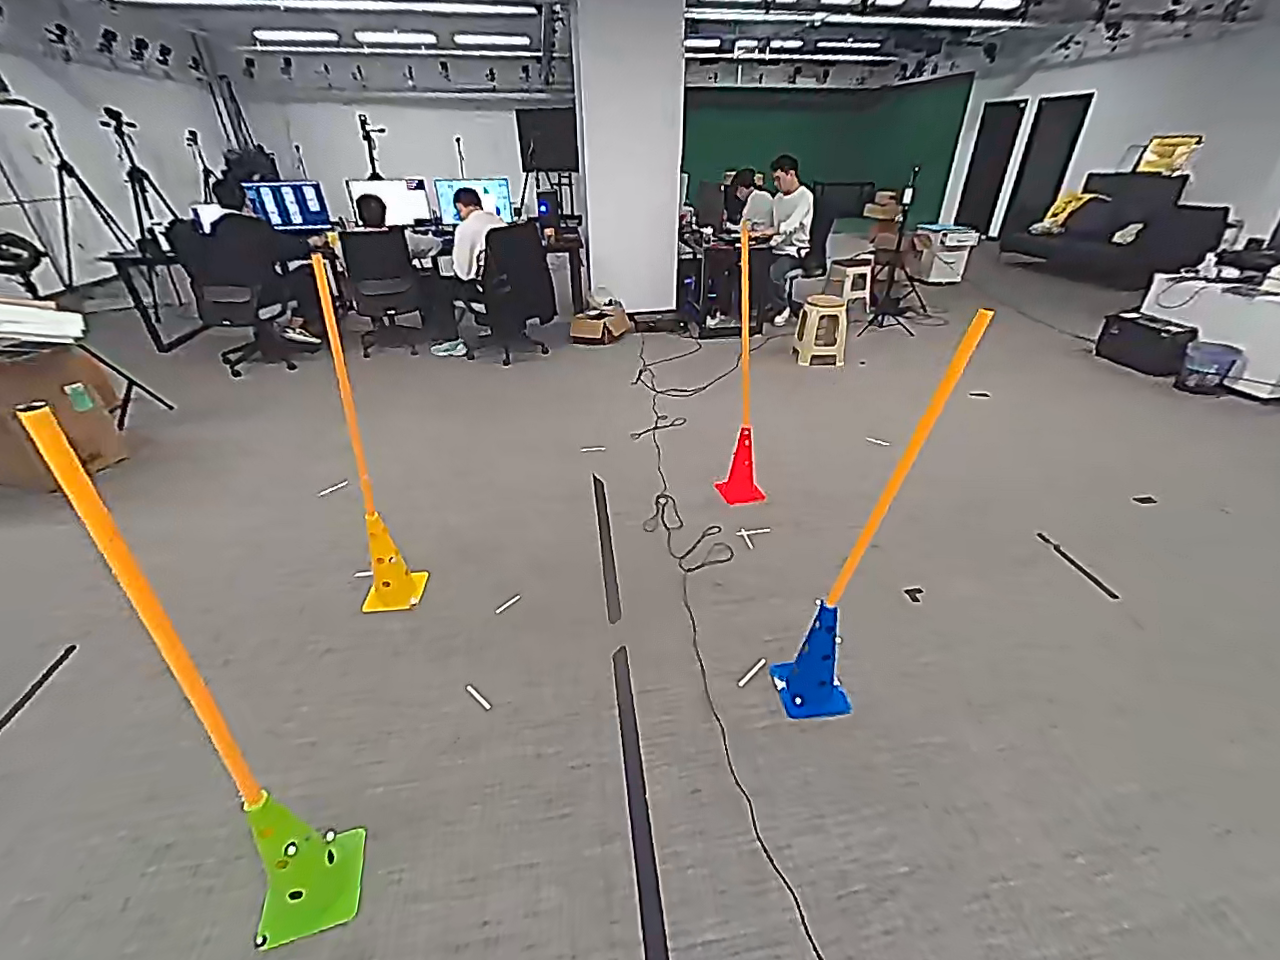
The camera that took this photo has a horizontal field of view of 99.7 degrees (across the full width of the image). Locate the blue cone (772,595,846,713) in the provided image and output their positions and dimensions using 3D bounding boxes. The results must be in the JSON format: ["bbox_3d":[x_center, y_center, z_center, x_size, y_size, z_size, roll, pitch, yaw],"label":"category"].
[{"bbox_3d":[0.520,0.497,1.592,0.193,0.380,0.192,-3,31,-4],"label":"blue cone"}]

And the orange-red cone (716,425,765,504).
[{"bbox_3d":[0.483,-0.089,2.535,0.199,0.360,0.198,-9,31,-10],"label":"orange-red cone"}]

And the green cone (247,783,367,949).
[{"bbox_3d":[-0.740,0.771,1.145,0.200,0.368,0.202,-10,30,-16],"label":"green cone"}]
